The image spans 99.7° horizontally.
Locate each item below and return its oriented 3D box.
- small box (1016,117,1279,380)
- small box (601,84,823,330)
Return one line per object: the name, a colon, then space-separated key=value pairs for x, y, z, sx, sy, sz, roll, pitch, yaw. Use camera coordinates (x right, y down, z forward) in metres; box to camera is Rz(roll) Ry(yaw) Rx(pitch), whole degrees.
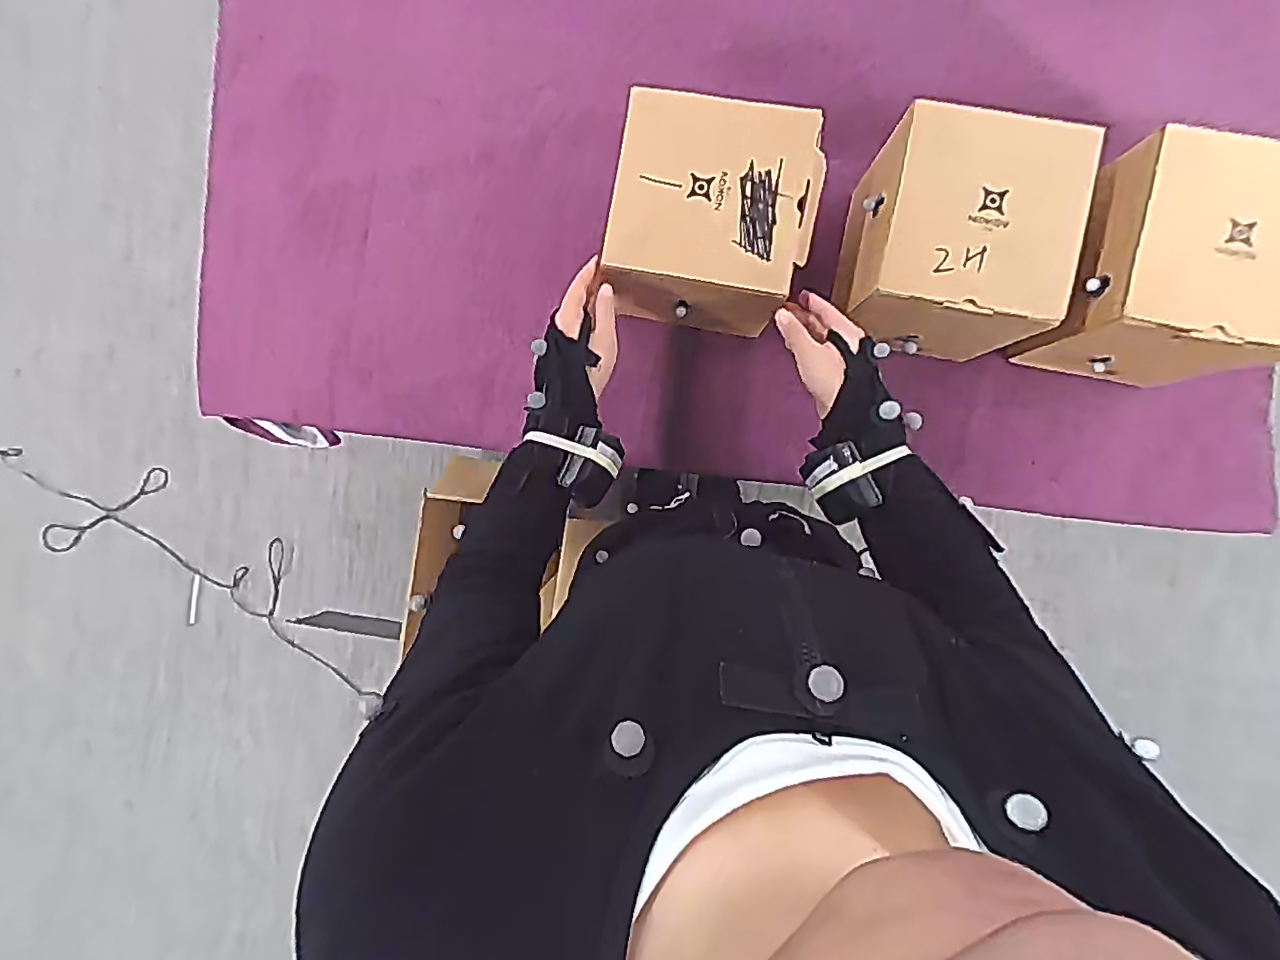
small box: x=0.519 y=-0.212 z=0.540 sx=0.168 sy=0.176 sz=0.179 roll=11 pitch=92 yaw=4
small box: x=0.069 y=-0.266 z=0.567 sx=0.179 sy=0.176 sz=0.168 roll=11 pitch=93 yaw=4
